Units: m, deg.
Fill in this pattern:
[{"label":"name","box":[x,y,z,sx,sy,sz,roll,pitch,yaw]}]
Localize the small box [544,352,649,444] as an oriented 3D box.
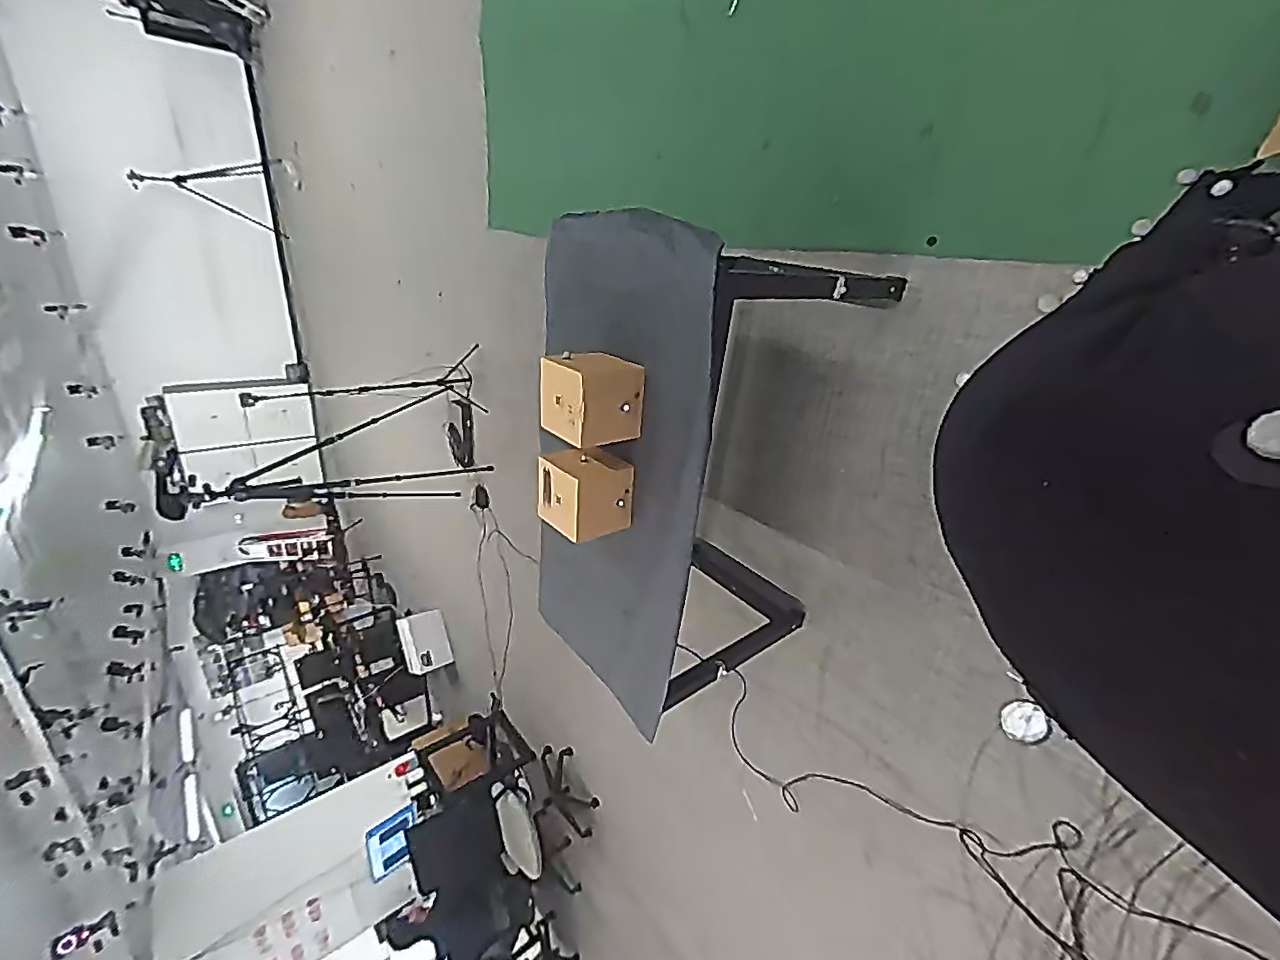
[{"label":"small box","box":[-0.102,-0.194,1.230,0.179,0.176,0.168,30,124,44]}]
